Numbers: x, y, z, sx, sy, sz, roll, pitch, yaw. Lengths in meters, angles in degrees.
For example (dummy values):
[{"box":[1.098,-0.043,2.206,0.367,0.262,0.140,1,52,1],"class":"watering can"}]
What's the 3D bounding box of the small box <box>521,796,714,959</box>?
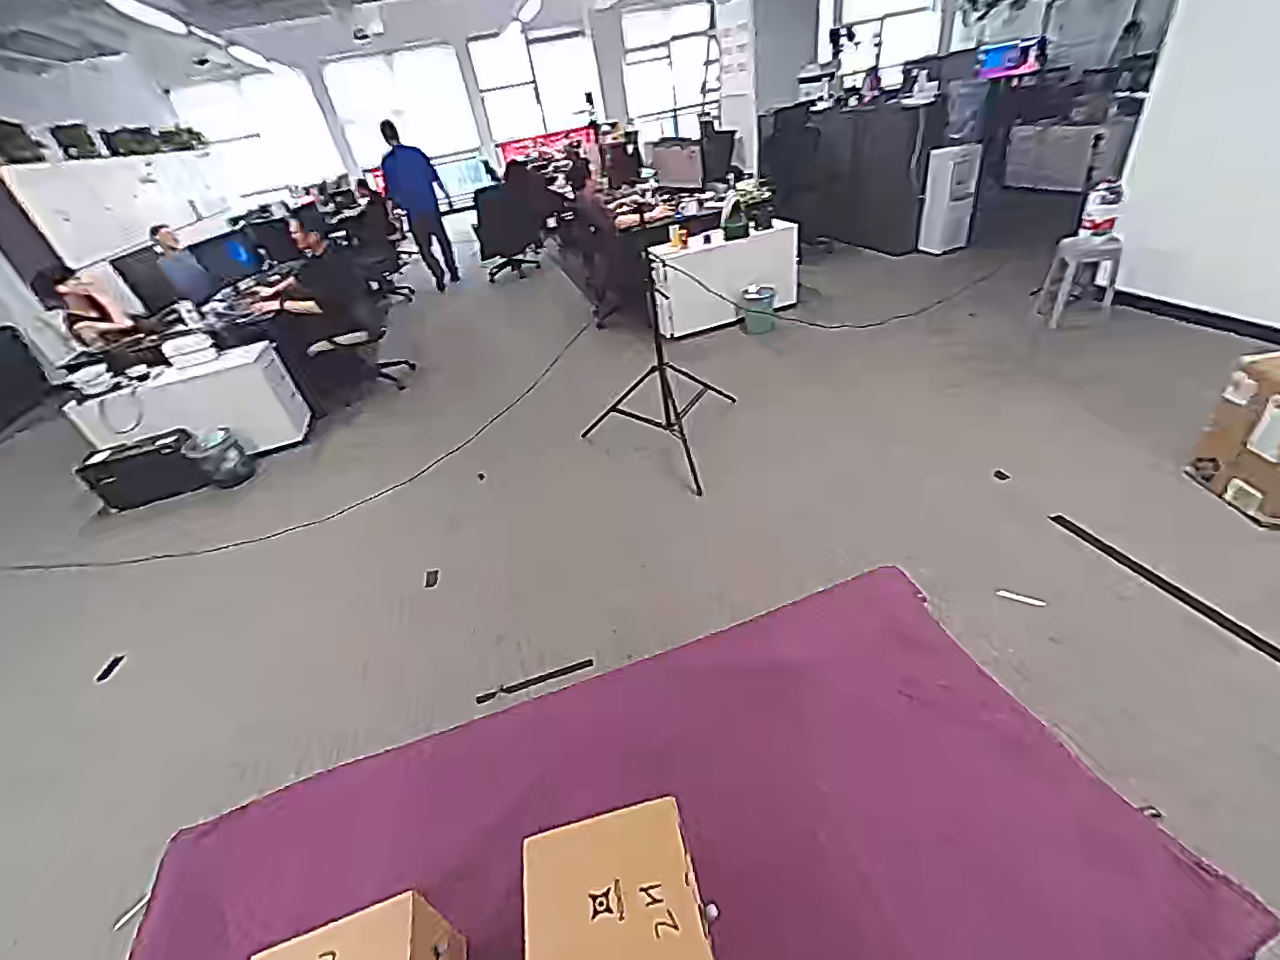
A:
[{"box":[-0.019,0.484,0.583,0.179,0.176,0.168,-13,35,-4],"class":"small box"}]
